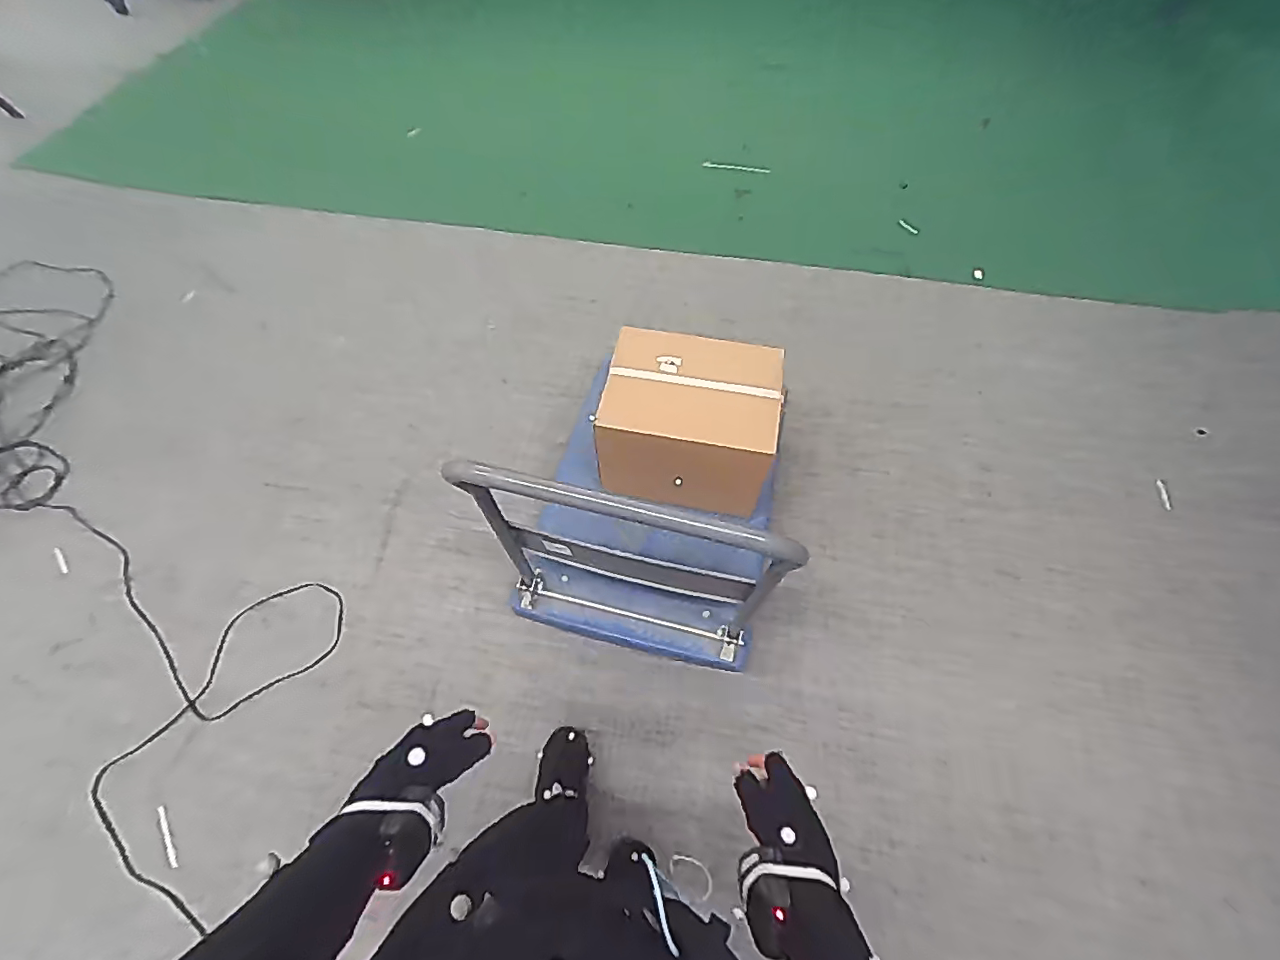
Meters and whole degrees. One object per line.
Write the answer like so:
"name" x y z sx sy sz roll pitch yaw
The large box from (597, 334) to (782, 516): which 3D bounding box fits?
"large box" 0.129 -0.133 1.387 0.408 0.320 0.320 9 59 6
